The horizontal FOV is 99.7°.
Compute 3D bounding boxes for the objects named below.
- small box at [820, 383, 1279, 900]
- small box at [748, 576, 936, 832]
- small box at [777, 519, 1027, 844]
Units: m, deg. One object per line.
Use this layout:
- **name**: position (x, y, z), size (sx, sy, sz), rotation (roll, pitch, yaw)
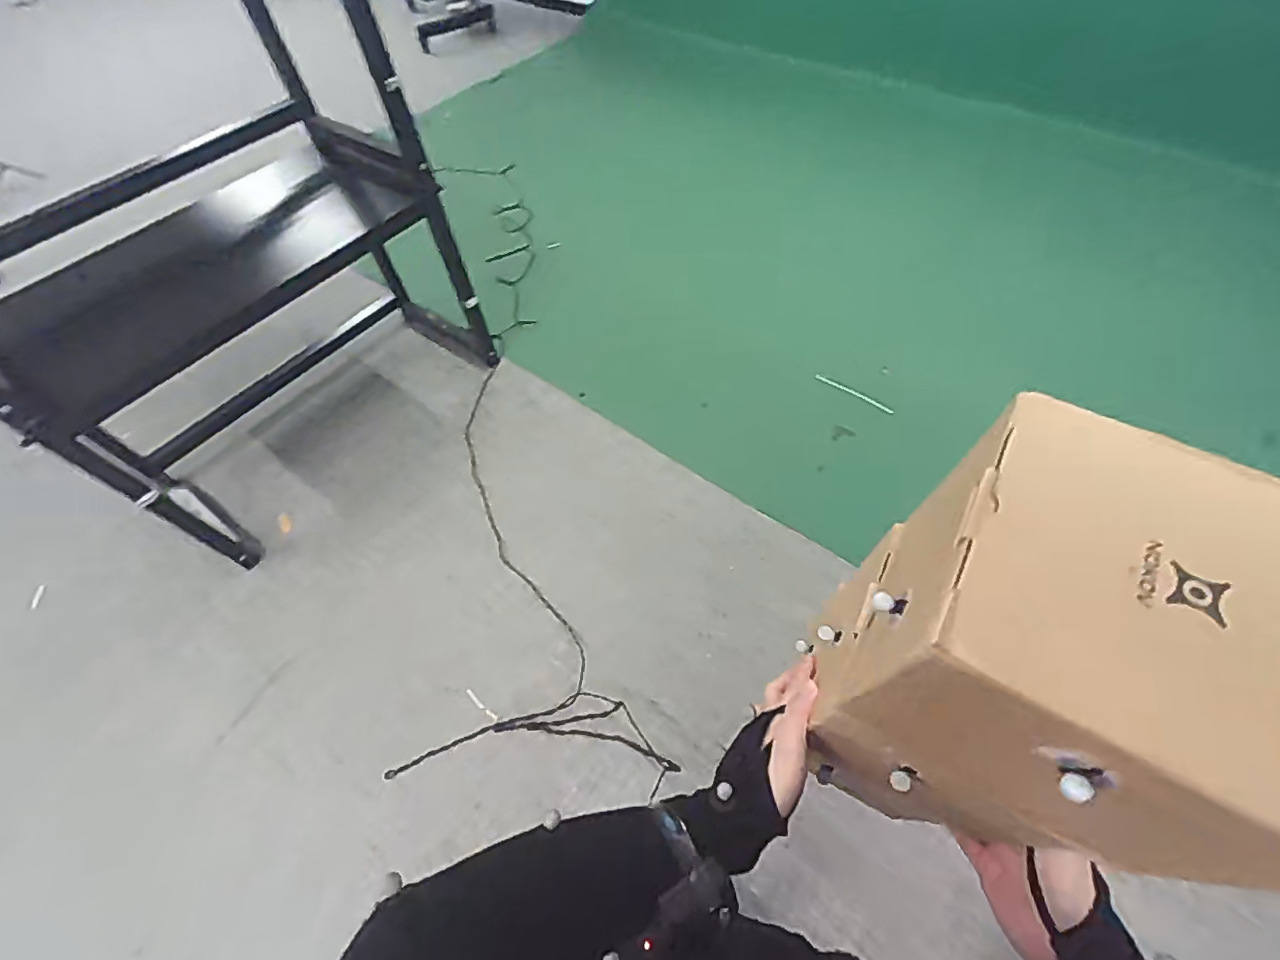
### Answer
- **small box**: position (0.223, 0.087, 0.291), size (0.179, 0.176, 0.168), rotation (29, 65, 16)
- **small box**: position (0.228, 0.240, 0.581), size (0.168, 0.176, 0.179), rotation (26, 64, 15)
- **small box**: position (0.228, 0.165, 0.434), size (0.179, 0.176, 0.168), rotation (25, 64, 15)
